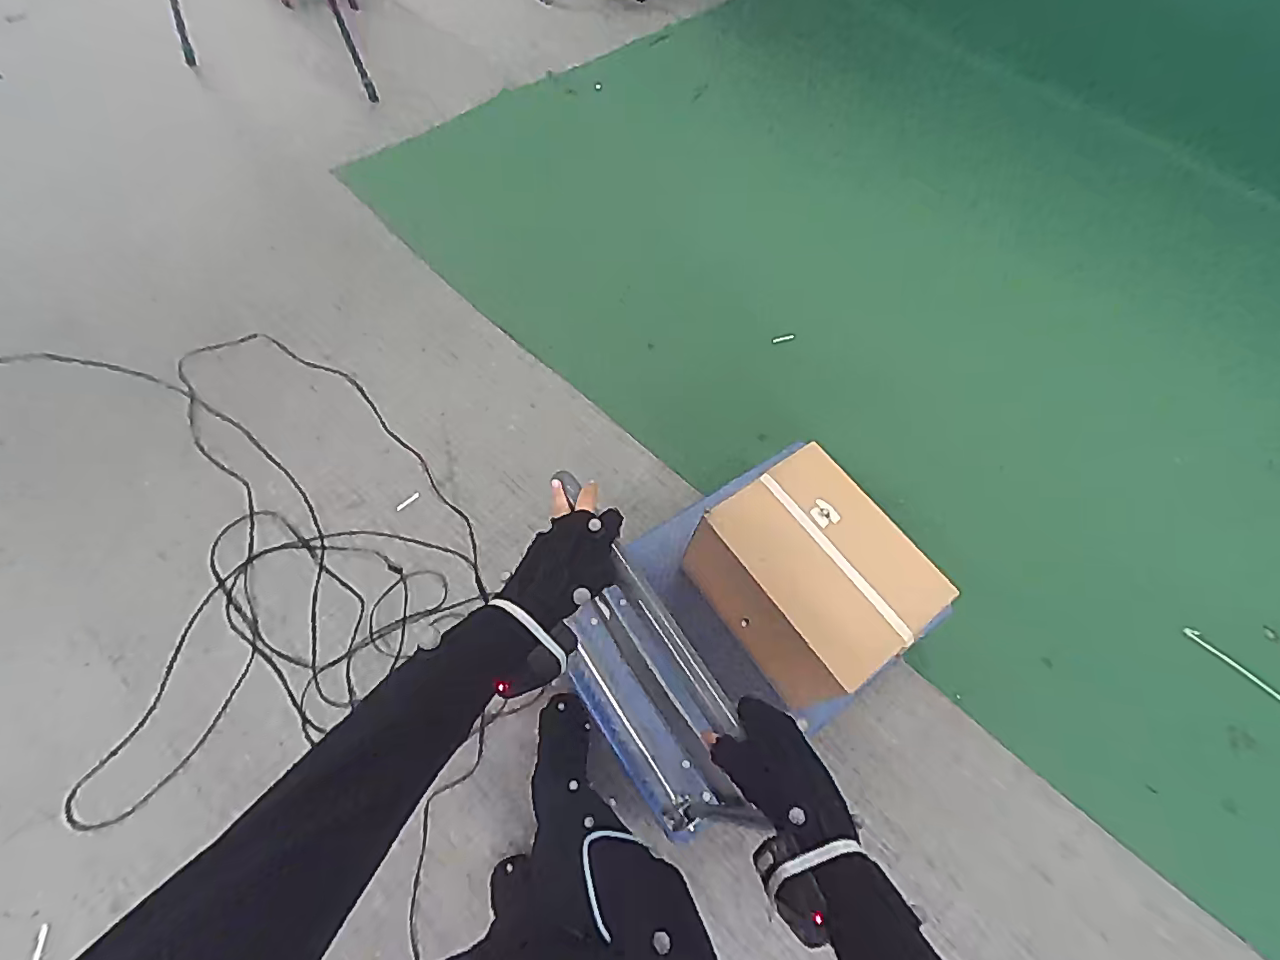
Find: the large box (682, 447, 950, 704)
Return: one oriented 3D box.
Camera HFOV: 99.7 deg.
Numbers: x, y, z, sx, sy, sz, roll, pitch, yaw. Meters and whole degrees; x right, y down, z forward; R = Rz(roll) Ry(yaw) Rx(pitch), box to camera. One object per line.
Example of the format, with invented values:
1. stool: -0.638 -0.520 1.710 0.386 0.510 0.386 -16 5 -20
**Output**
1. large box: 0.347 0.214 1.178 0.320 0.320 0.408 -31 69 -20
